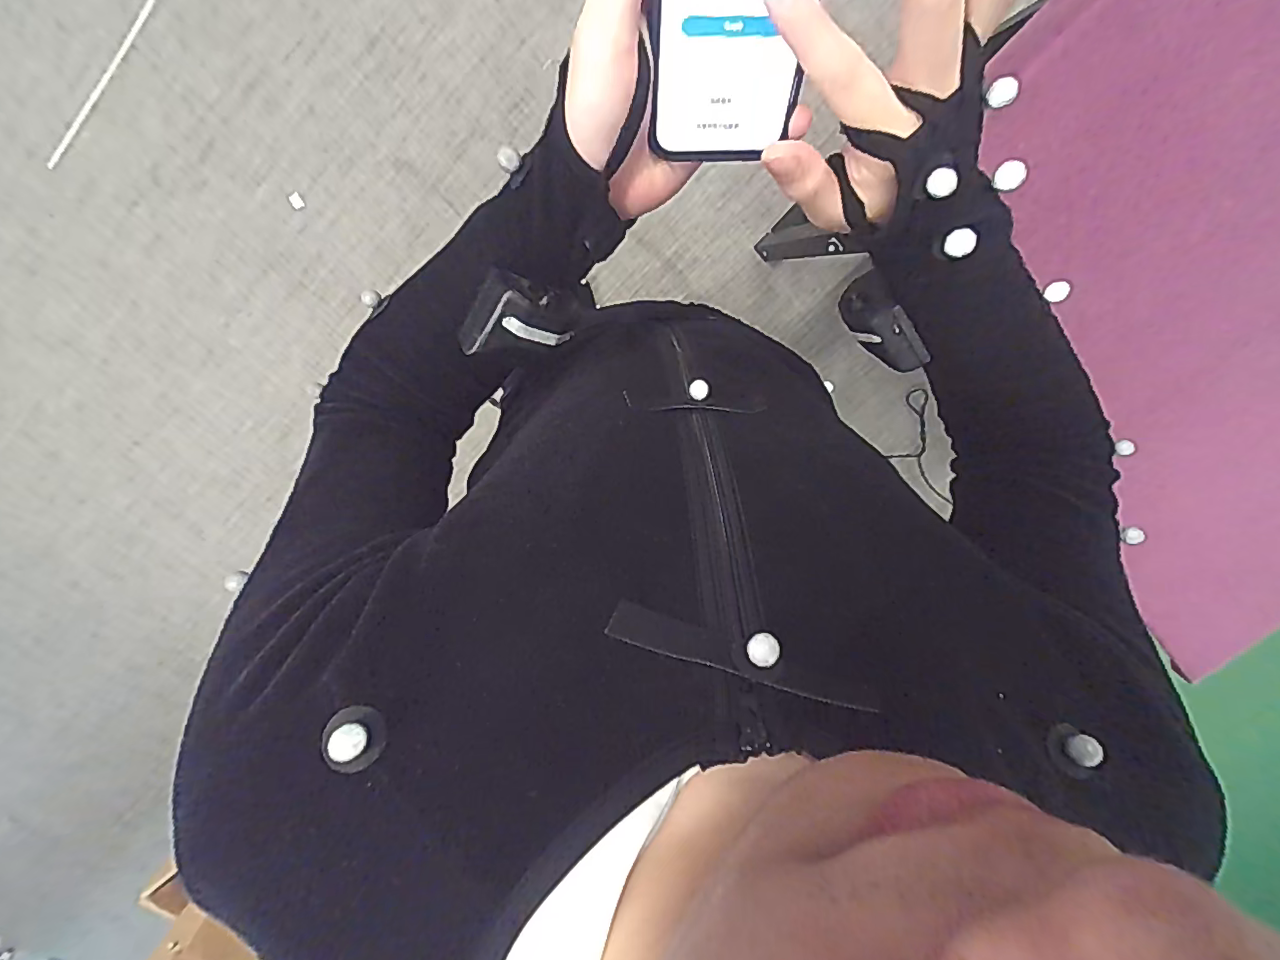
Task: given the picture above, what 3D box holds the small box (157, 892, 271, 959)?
[{"bbox_3d":[-1.035,1.143,1.296,0.179,0.176,0.168,-37,107,9],"label":"small box"}]
